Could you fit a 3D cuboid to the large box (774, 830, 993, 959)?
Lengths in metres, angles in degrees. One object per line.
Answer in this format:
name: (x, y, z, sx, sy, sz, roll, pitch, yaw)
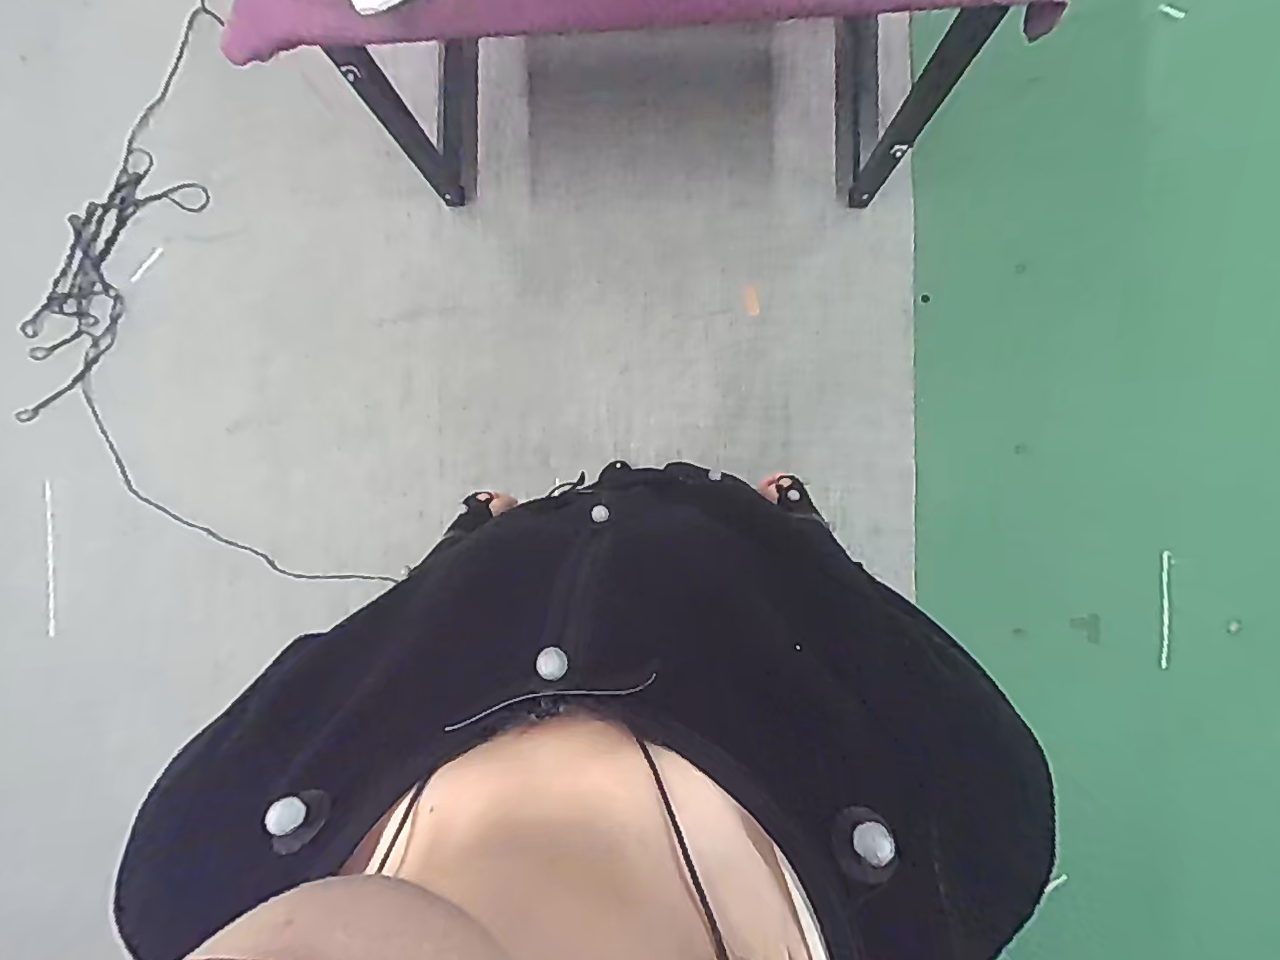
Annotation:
large box: (0.589, 1.141, 1.326, 0.408, 0.320, 0.320, -14, 90, 1)
